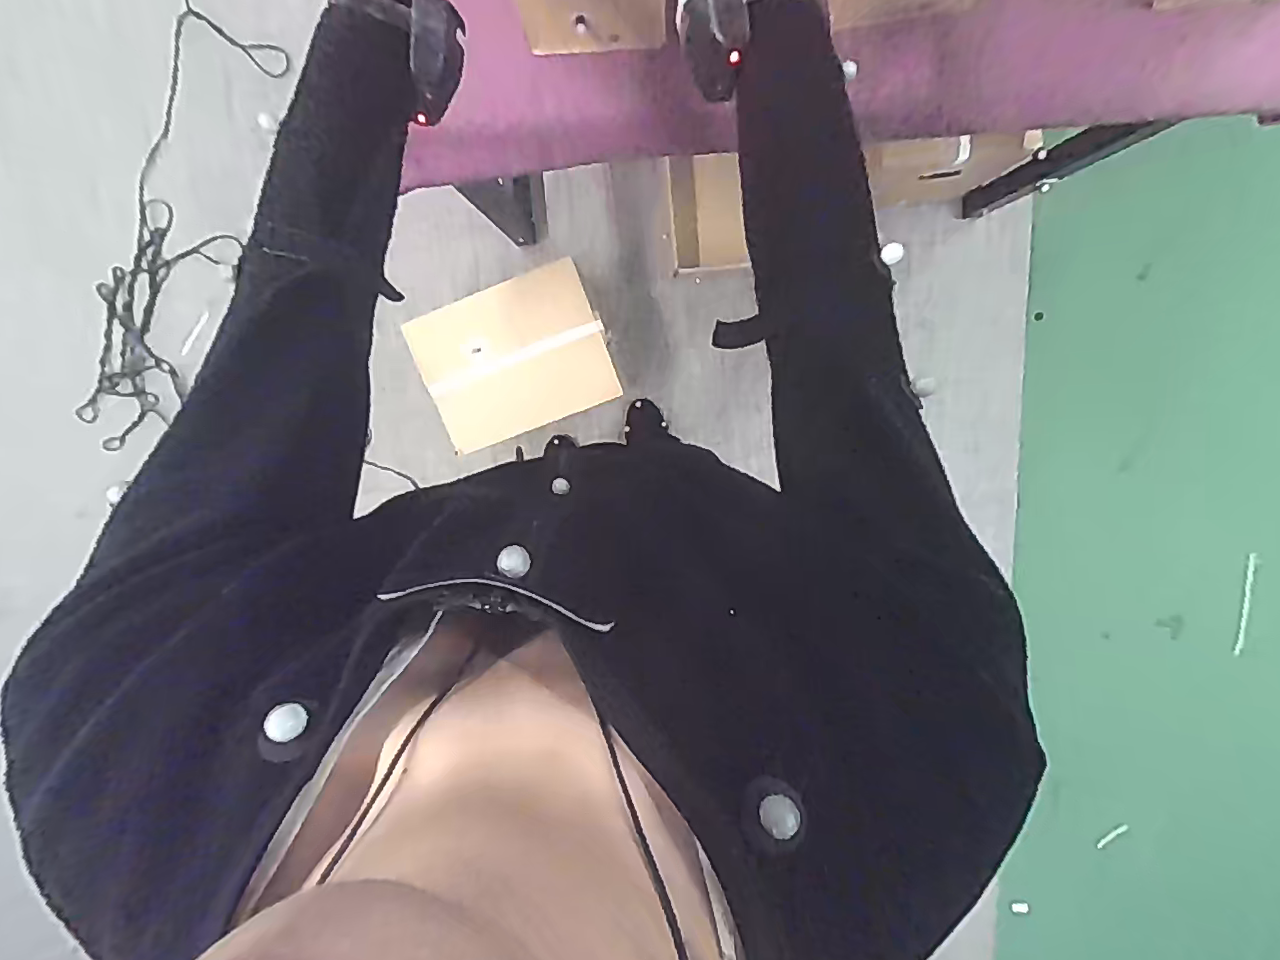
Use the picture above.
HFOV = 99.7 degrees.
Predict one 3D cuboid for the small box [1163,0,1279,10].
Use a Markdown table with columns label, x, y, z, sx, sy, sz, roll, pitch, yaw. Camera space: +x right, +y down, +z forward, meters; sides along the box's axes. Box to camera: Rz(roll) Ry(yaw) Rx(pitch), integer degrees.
| label | x | y | z | sx | sy | sz | roll | pitch | yaw |
| --- | --- | --- | --- | --- | --- | --- | --- | --- | --- |
| small box | 0.682 | -0.633 | 0.545 | 0.168 | 0.176 | 0.179 | -3 | 100 | 3 |

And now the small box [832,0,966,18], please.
| label | x | y | z | sx | sy | sz | roll | pitch | yaw |
| --- | --- | --- | --- | --- | --- | --- | --- | --- | --- |
| small box | 0.300 | -0.624 | 0.558 | 0.168 | 0.176 | 0.179 | -7 | 100 | 3 |

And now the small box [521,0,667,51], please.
| label | x | y | z | sx | sy | sz | roll | pitch | yaw |
| --- | --- | --- | --- | --- | --- | --- | --- | --- | --- |
| small box | -0.054 | -0.602 | 0.572 | 0.168 | 0.176 | 0.179 | -2 | 101 | 1 |
